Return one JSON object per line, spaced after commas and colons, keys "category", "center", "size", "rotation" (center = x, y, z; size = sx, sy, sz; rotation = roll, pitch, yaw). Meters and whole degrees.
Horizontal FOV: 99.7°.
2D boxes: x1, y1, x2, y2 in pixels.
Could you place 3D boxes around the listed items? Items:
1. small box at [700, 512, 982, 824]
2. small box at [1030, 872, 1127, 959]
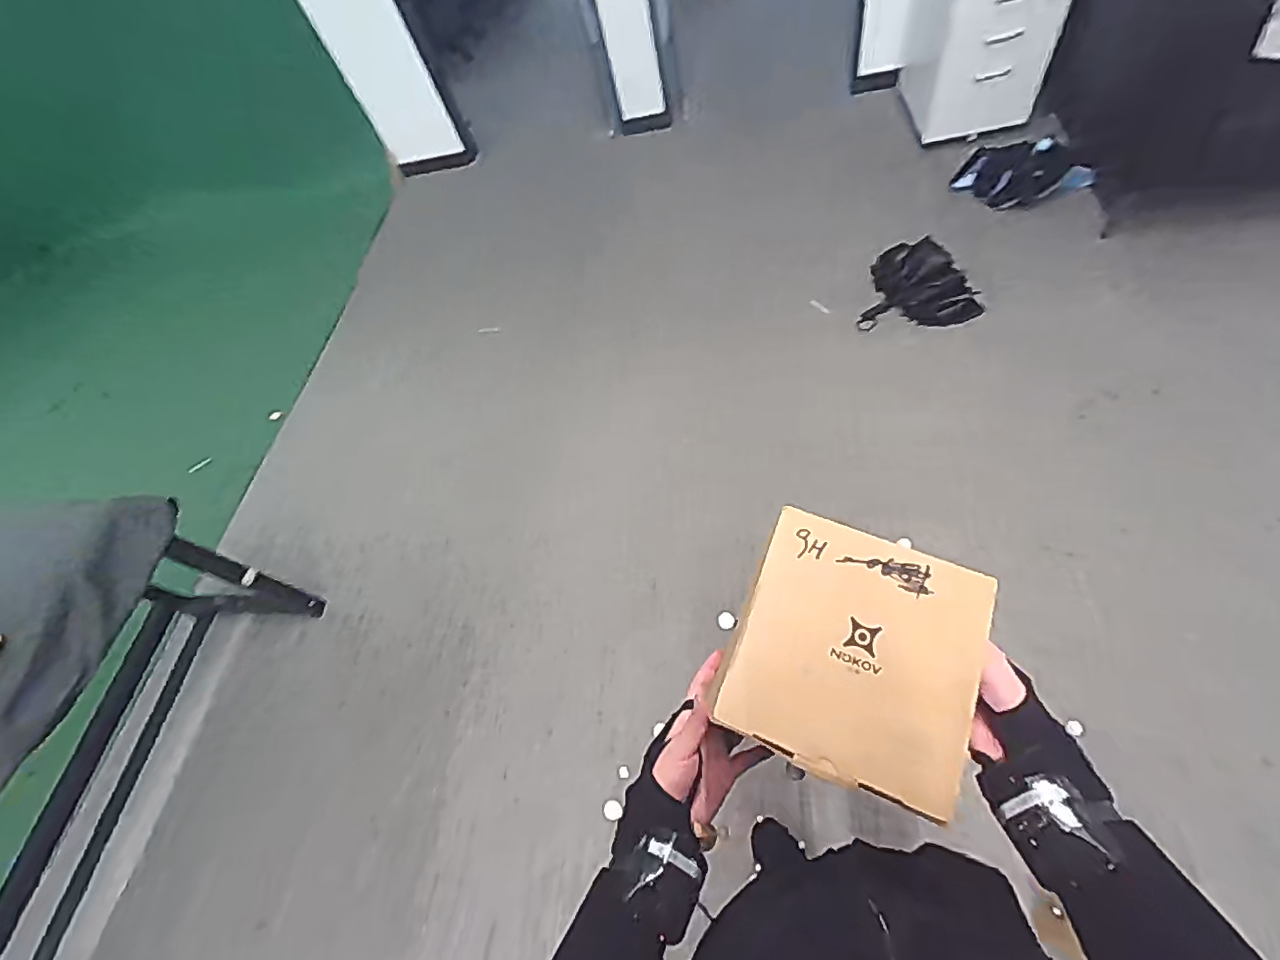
{"category": "small box", "center": [0.159, 0.156, 0.474], "size": [0.168, 0.176, 0.179], "rotation": [20, 71, 12]}
{"category": "small box", "center": [0.878, 0.867, 1.003], "size": [0.168, 0.176, 0.179], "rotation": [-42, 59, -12]}
